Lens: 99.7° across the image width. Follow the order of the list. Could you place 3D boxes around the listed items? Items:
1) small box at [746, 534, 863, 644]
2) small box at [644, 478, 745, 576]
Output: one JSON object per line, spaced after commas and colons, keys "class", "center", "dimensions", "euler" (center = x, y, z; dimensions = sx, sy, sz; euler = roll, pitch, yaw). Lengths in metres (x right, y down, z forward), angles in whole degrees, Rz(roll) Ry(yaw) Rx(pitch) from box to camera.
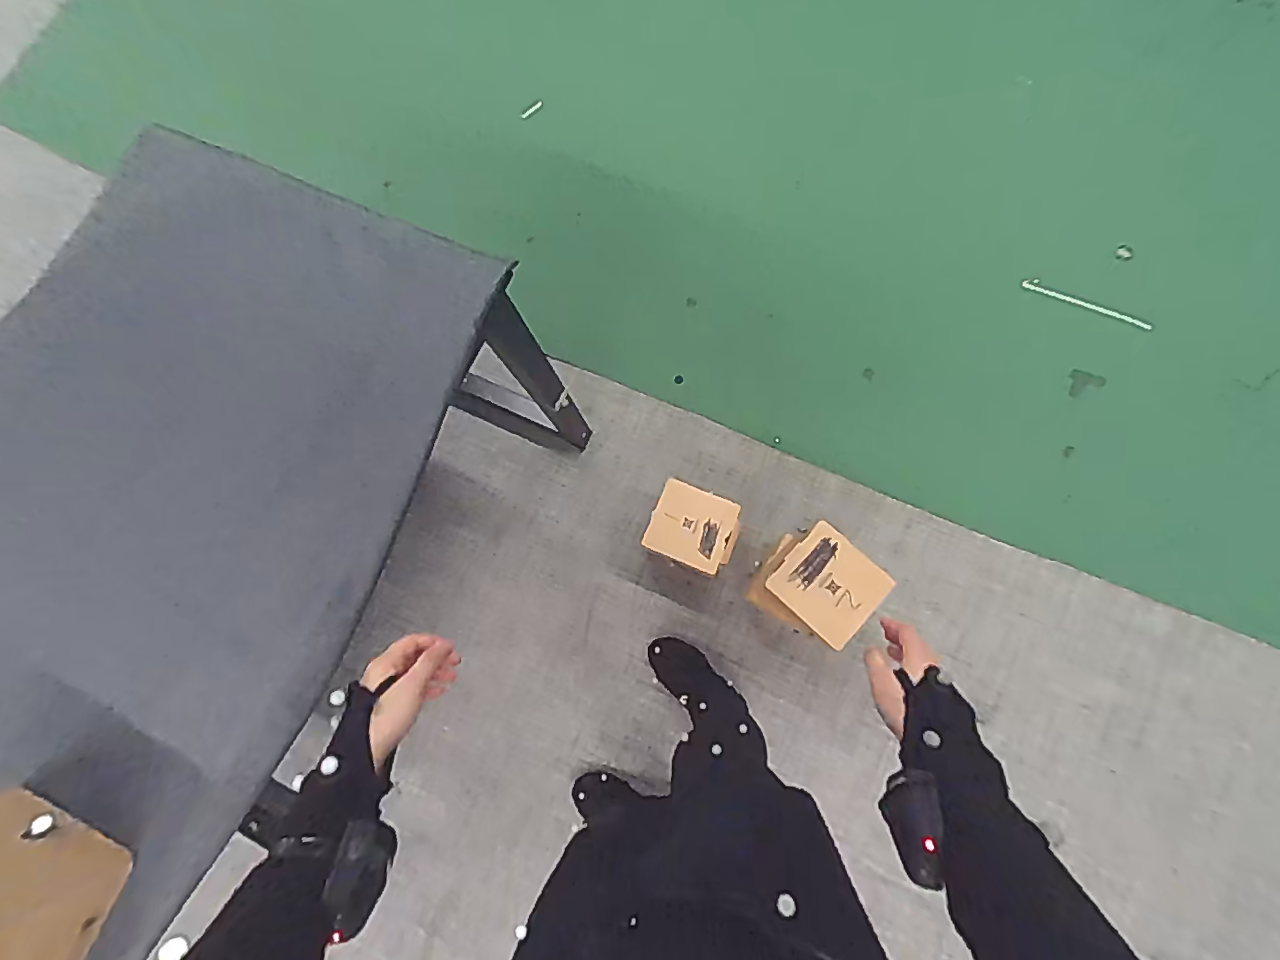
{"class": "small box", "center": [0.357, 0.237, 1.206], "dimensions": [0.179, 0.176, 0.168], "euler": [32, 83, 10]}
{"class": "small box", "center": [0.127, 0.114, 1.250], "dimensions": [0.179, 0.176, 0.168], "euler": [22, 81, 10]}
